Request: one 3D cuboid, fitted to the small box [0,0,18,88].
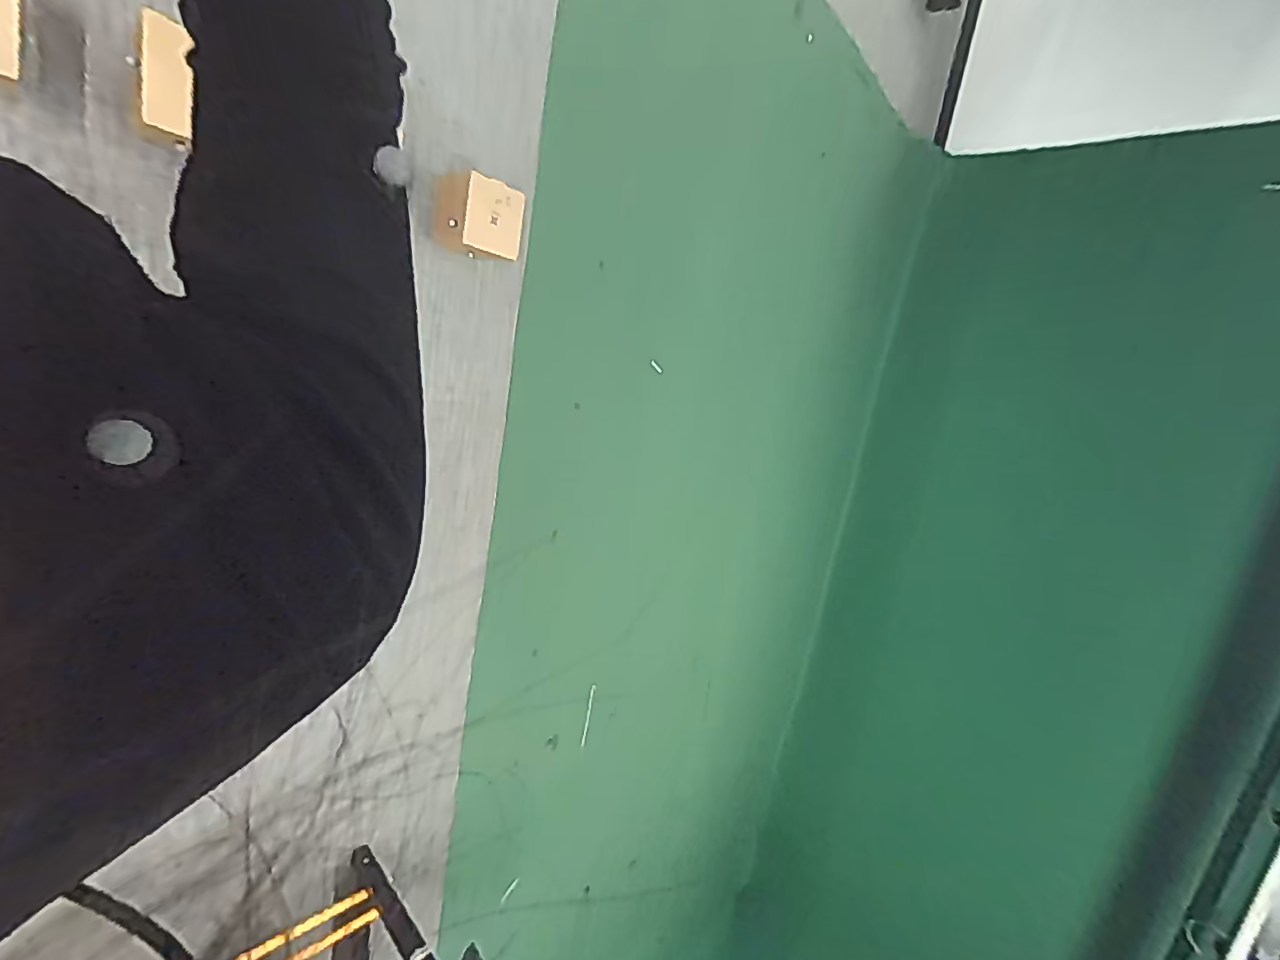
[{"bbox_3d":[-1.017,-0.706,0.771,0.168,0.176,0.179,1,106,-49],"label":"small box"}]

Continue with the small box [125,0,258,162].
[{"bbox_3d":[-0.823,-0.712,0.992,0.168,0.176,0.179,-2,106,-48],"label":"small box"}]

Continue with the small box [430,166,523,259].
[{"bbox_3d":[-0.439,-0.705,1.440,0.168,0.176,0.179,-2,107,-49],"label":"small box"}]
